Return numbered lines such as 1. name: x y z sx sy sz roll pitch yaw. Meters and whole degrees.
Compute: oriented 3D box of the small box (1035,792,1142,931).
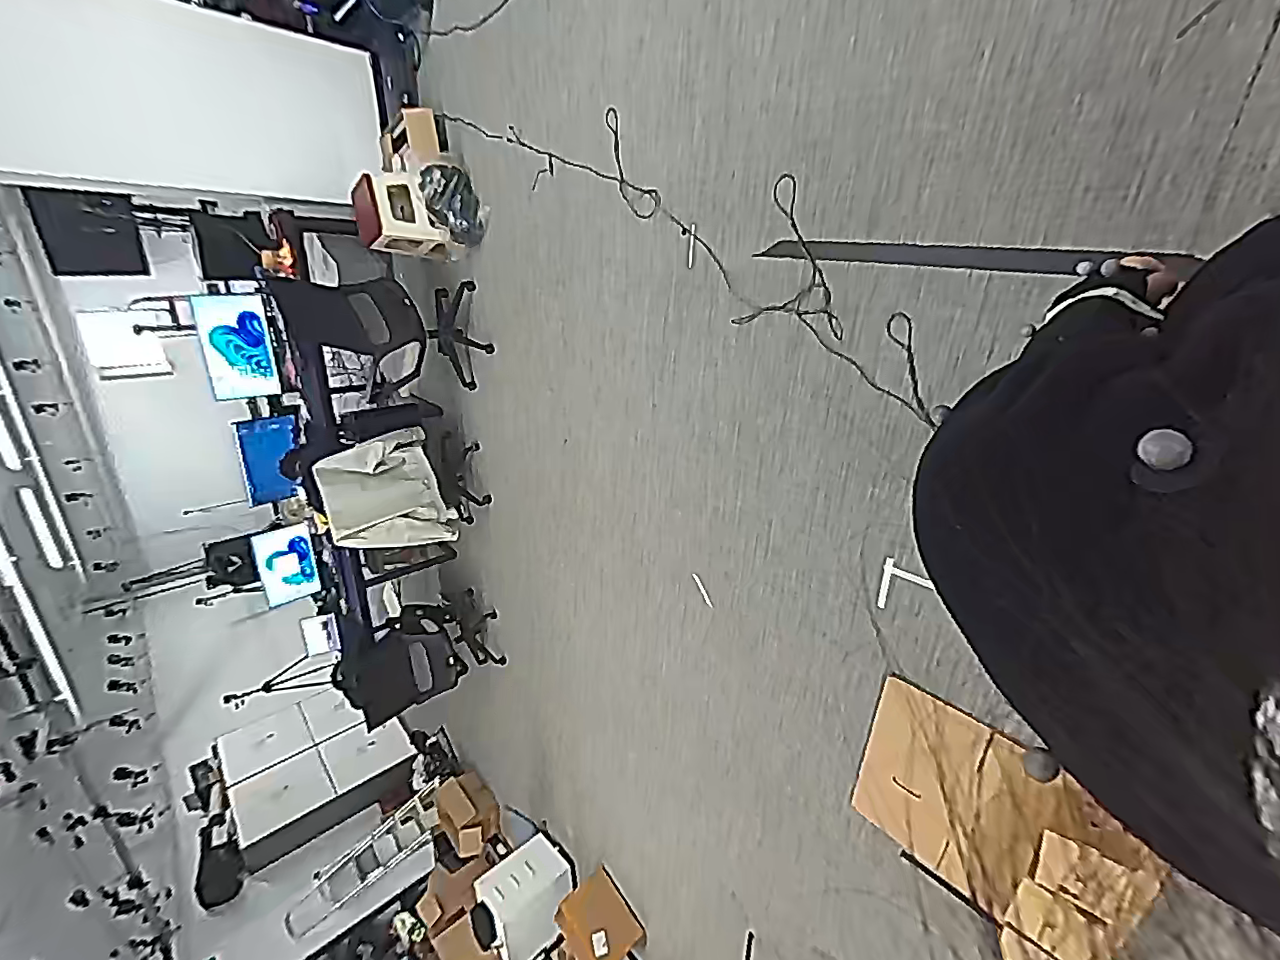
1. small box: 1.077 0.900 1.297 0.168 0.176 0.179 13 113 45
